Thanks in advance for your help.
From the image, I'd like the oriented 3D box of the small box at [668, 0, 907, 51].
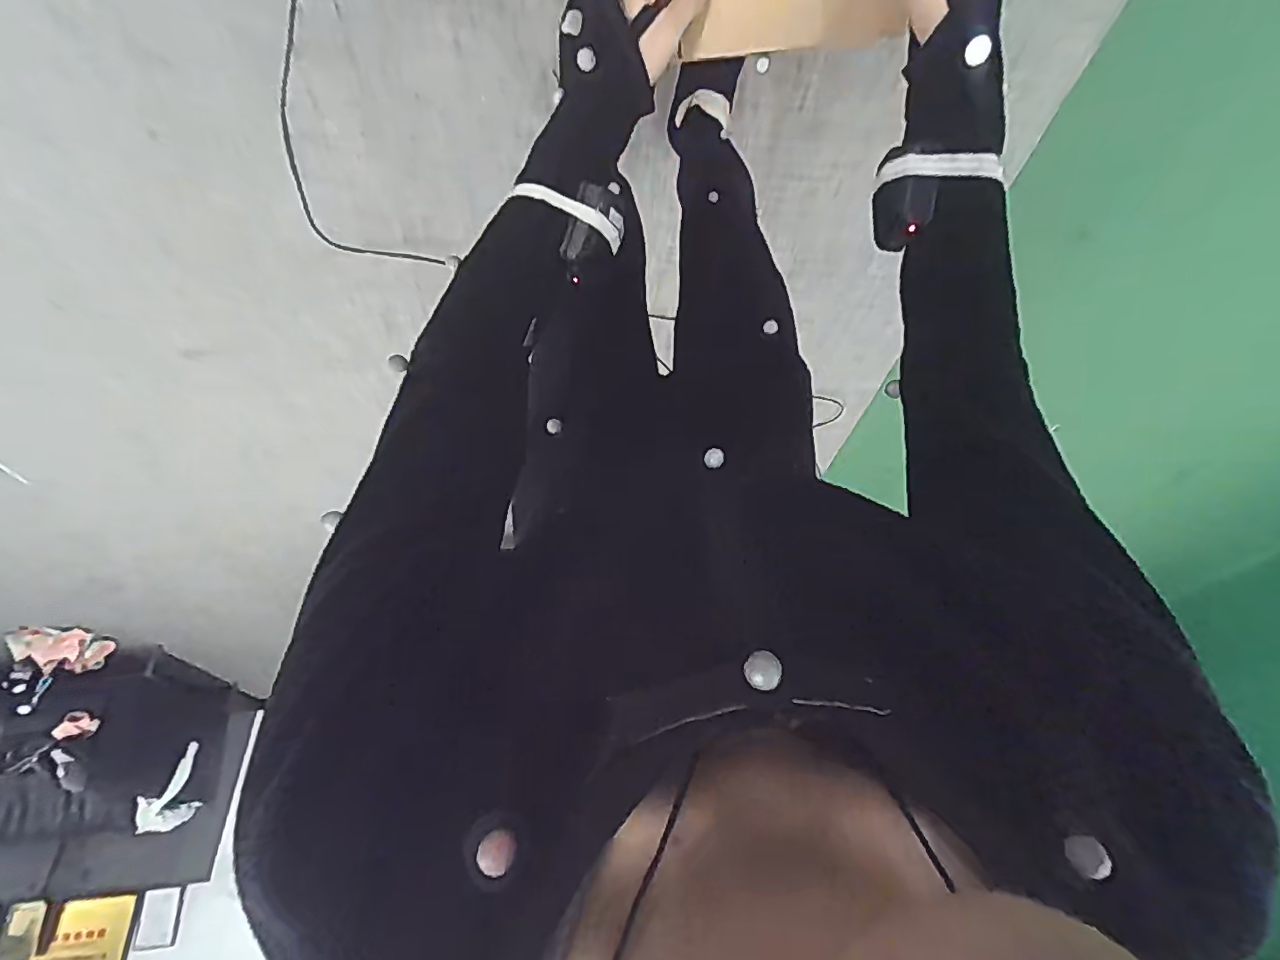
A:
[{"bbox_3d":[0.110,-0.458,0.435,0.179,0.176,0.168,-4,128,2],"label":"small box"}]
